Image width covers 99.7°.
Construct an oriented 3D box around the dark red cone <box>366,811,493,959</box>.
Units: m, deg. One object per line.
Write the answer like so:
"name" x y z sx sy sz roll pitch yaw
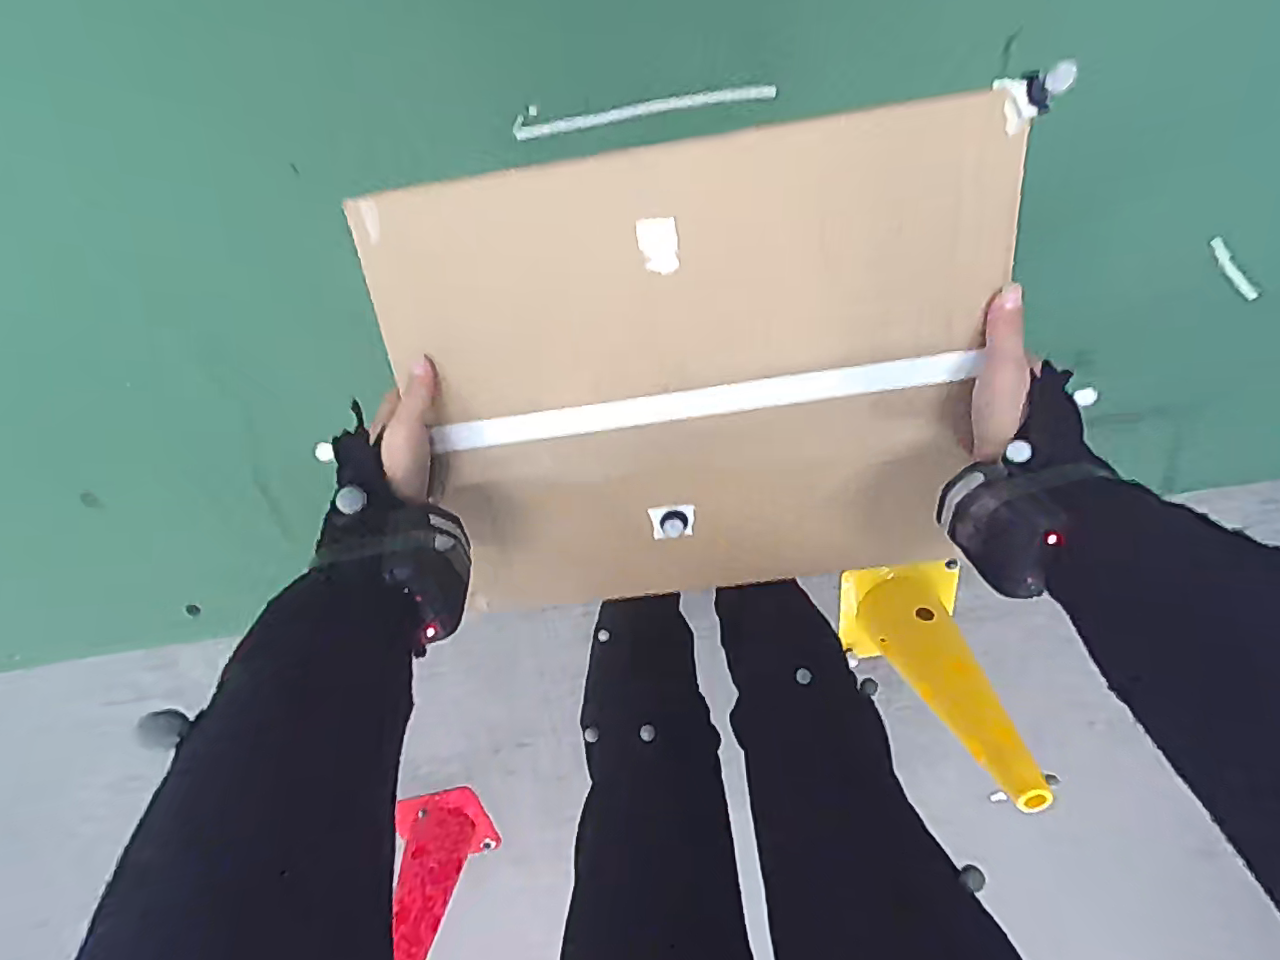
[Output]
"dark red cone" -0.421 0.812 0.950 0.202 0.394 0.201 -16 109 6
